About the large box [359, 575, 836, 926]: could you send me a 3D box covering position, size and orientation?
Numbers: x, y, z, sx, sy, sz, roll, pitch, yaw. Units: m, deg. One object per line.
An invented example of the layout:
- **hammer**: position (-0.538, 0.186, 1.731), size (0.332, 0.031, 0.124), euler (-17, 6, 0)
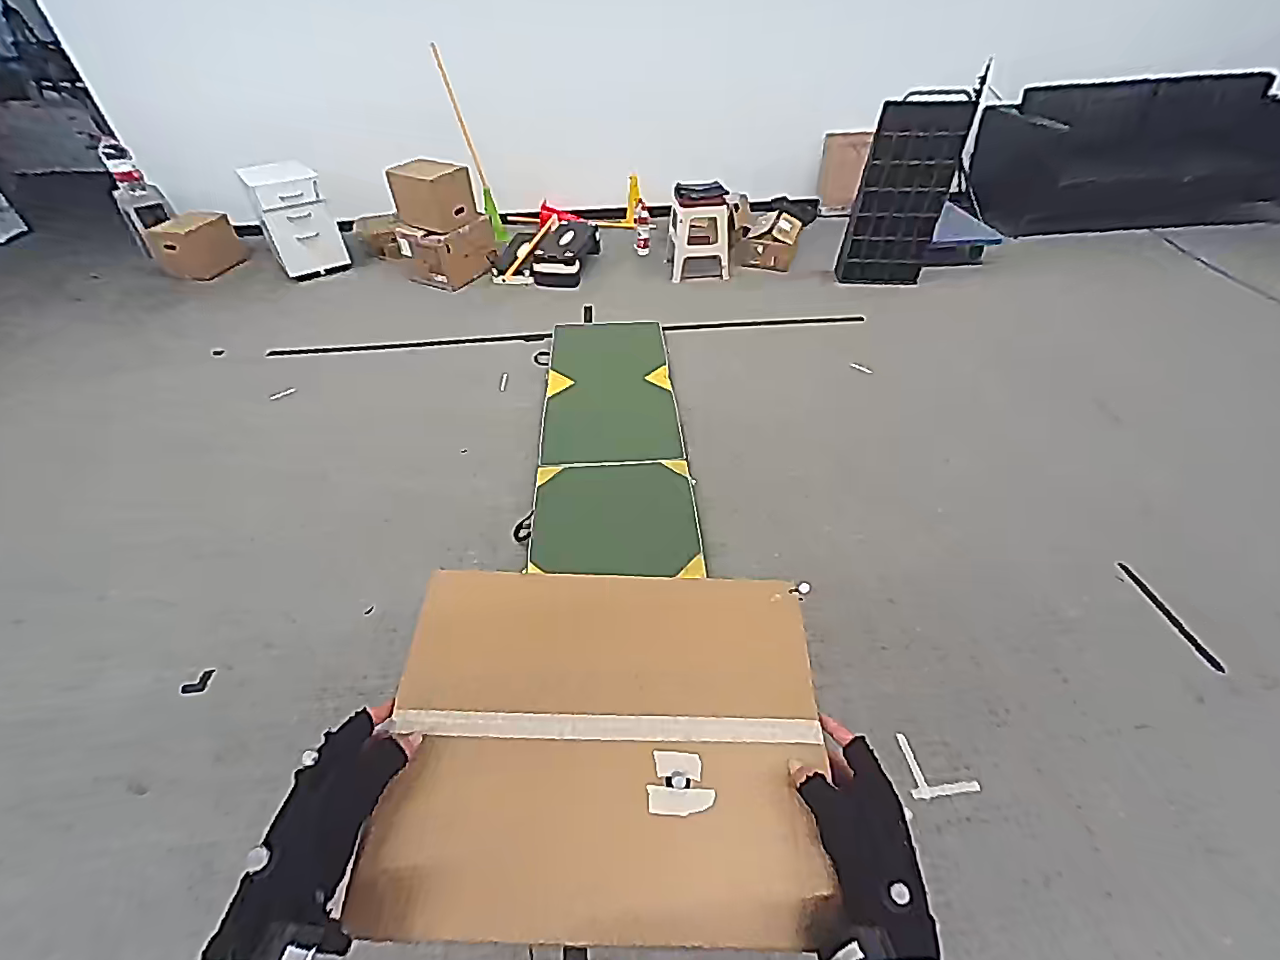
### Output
- **large box**: position (-0.040, 0.325, 0.650), size (0.408, 0.320, 0.320), euler (2, 54, -2)
